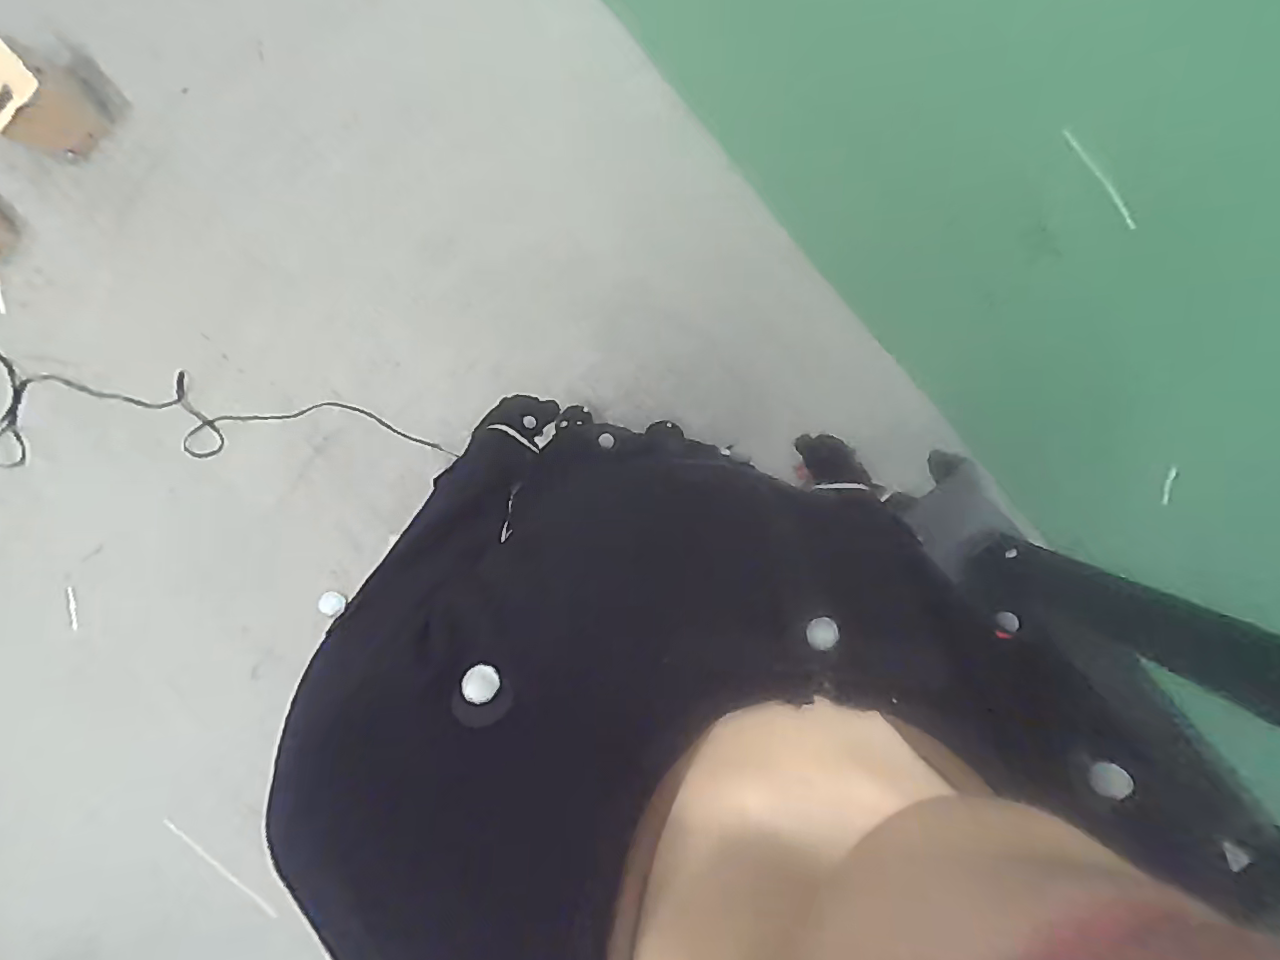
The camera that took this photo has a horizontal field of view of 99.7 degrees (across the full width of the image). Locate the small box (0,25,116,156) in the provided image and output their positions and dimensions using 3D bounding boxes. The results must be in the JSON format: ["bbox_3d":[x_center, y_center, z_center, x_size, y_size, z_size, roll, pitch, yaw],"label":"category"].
[{"bbox_3d":[-1.453,-0.927,1.310,0.168,0.176,0.179,-38,95,6],"label":"small box"}]

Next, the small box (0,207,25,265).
[{"bbox_3d":[-1.745,-0.653,1.357,0.168,0.176,0.179,-43,95,7],"label":"small box"}]
